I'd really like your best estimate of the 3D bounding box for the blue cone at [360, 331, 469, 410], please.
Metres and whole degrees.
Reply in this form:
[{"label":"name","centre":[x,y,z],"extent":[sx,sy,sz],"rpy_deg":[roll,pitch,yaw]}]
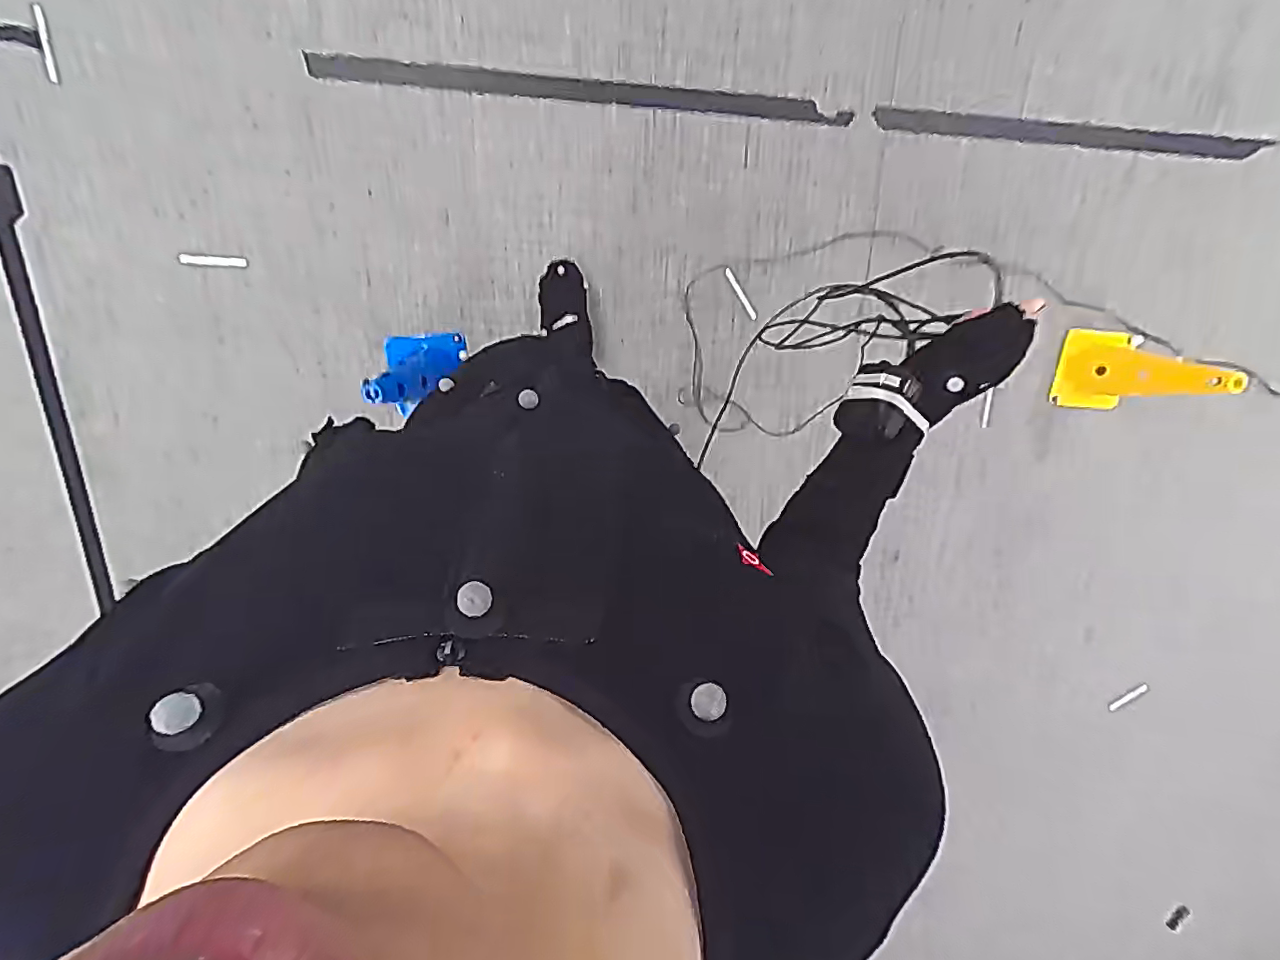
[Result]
[{"label":"blue cone","centre":[-0.523,-0.229,1.204],"extent":[0.193,0.380,0.192],"rpy_deg":[-3,106,-2]}]
